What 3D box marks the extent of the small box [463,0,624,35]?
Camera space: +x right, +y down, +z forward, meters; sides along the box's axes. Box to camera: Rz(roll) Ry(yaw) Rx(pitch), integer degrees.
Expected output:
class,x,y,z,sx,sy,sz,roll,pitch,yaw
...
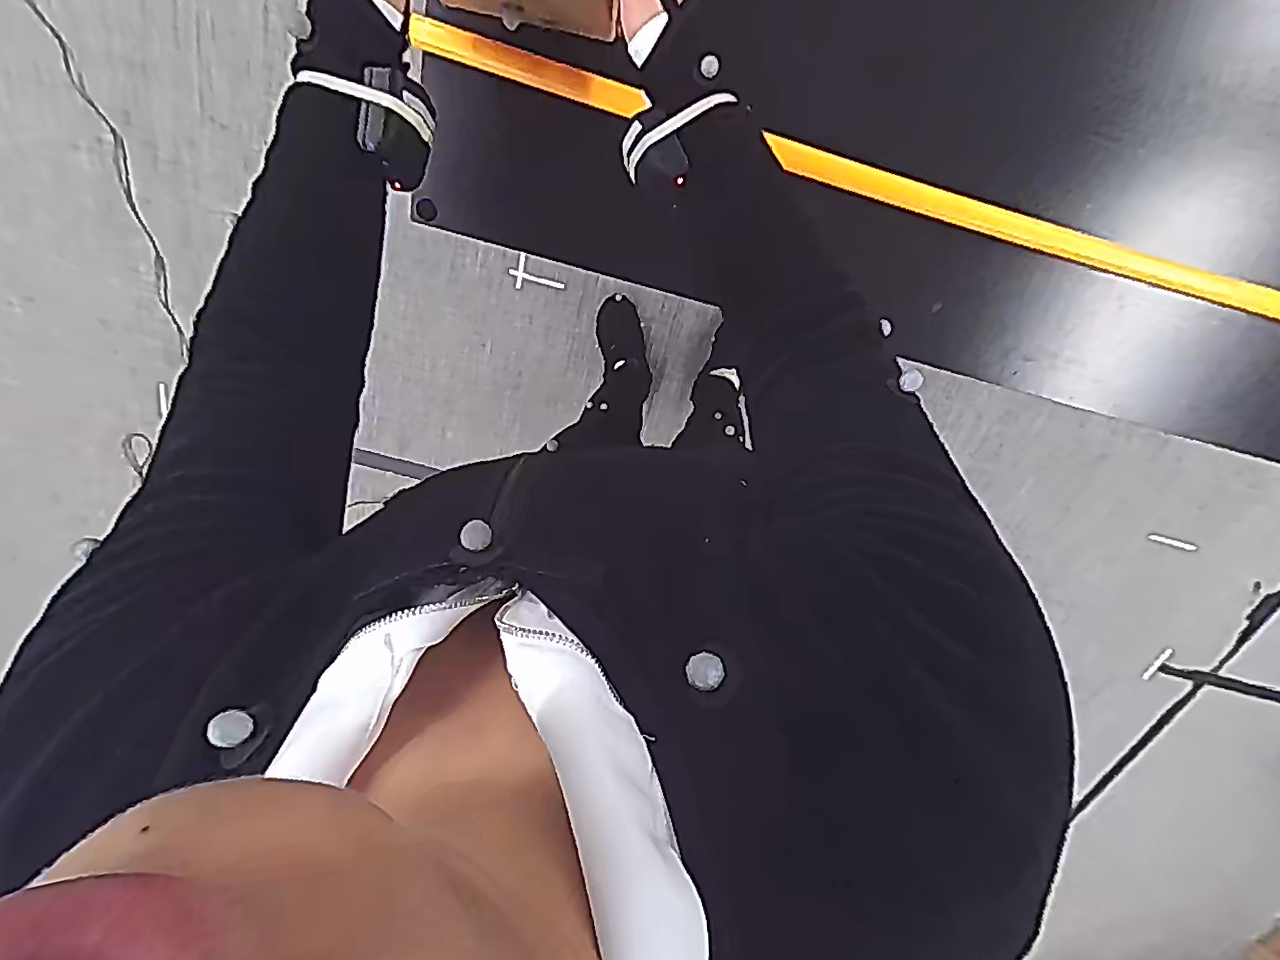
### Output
class,x,y,z,sx,sy,sz,roll,pitch,yaw
small box,-0.085,-0.483,0.408,0.168,0.176,0.179,9,116,-4
